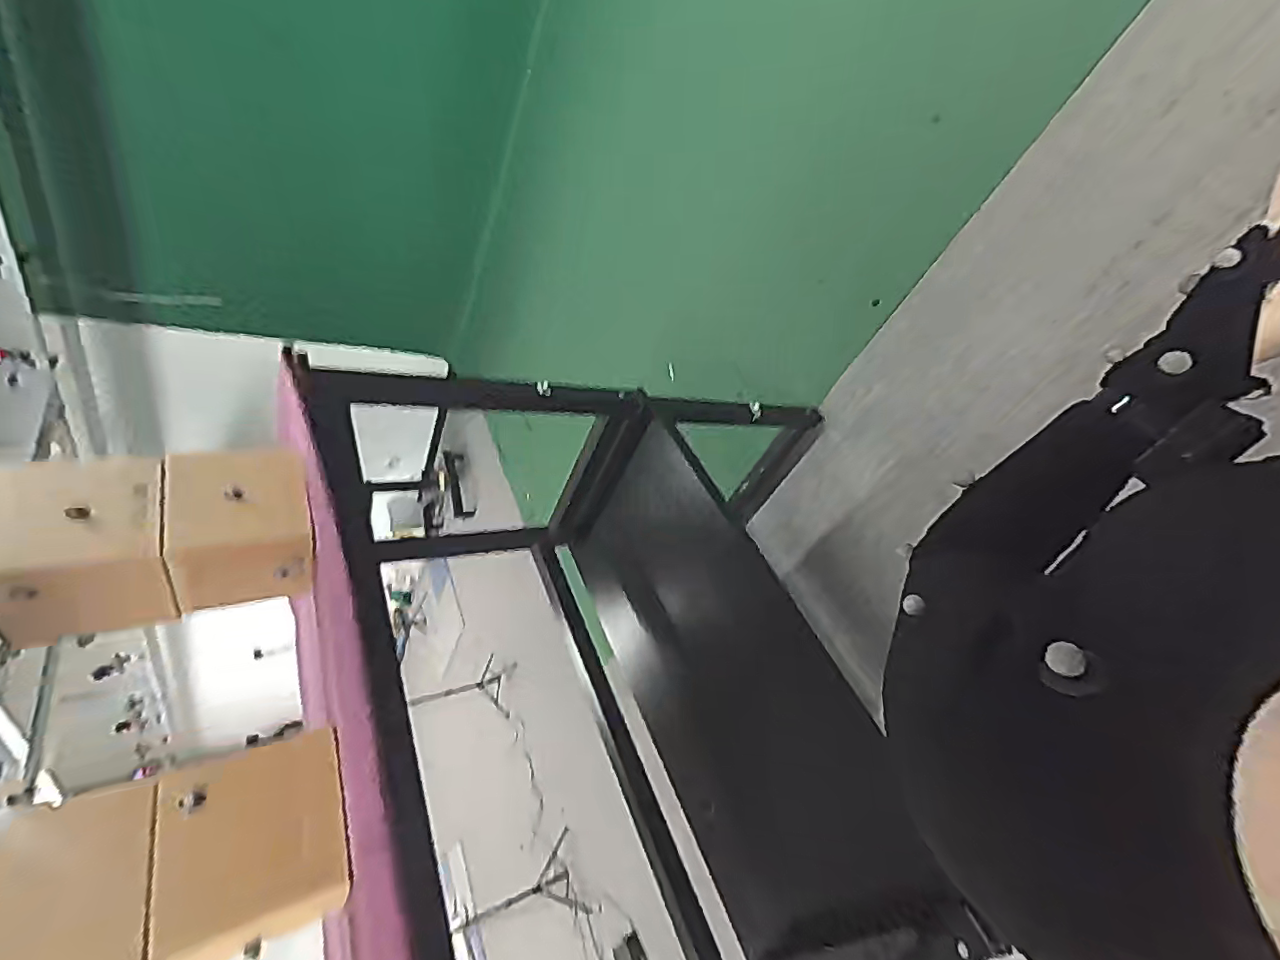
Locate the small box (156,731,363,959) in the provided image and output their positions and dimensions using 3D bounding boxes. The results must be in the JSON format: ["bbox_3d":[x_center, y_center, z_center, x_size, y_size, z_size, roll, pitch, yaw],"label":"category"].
[{"bbox_3d":[-0.422,0.422,0.616,0.179,0.176,0.168,61,138,32],"label":"small box"}]

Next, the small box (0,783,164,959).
[{"bbox_3d":[-0.559,0.433,0.526,0.168,0.176,0.179,-59,46,39],"label":"small box"}]

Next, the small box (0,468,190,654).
[{"bbox_3d":[-0.721,0.099,0.719,0.168,0.176,0.179,60,138,30],"label":"small box"}]
